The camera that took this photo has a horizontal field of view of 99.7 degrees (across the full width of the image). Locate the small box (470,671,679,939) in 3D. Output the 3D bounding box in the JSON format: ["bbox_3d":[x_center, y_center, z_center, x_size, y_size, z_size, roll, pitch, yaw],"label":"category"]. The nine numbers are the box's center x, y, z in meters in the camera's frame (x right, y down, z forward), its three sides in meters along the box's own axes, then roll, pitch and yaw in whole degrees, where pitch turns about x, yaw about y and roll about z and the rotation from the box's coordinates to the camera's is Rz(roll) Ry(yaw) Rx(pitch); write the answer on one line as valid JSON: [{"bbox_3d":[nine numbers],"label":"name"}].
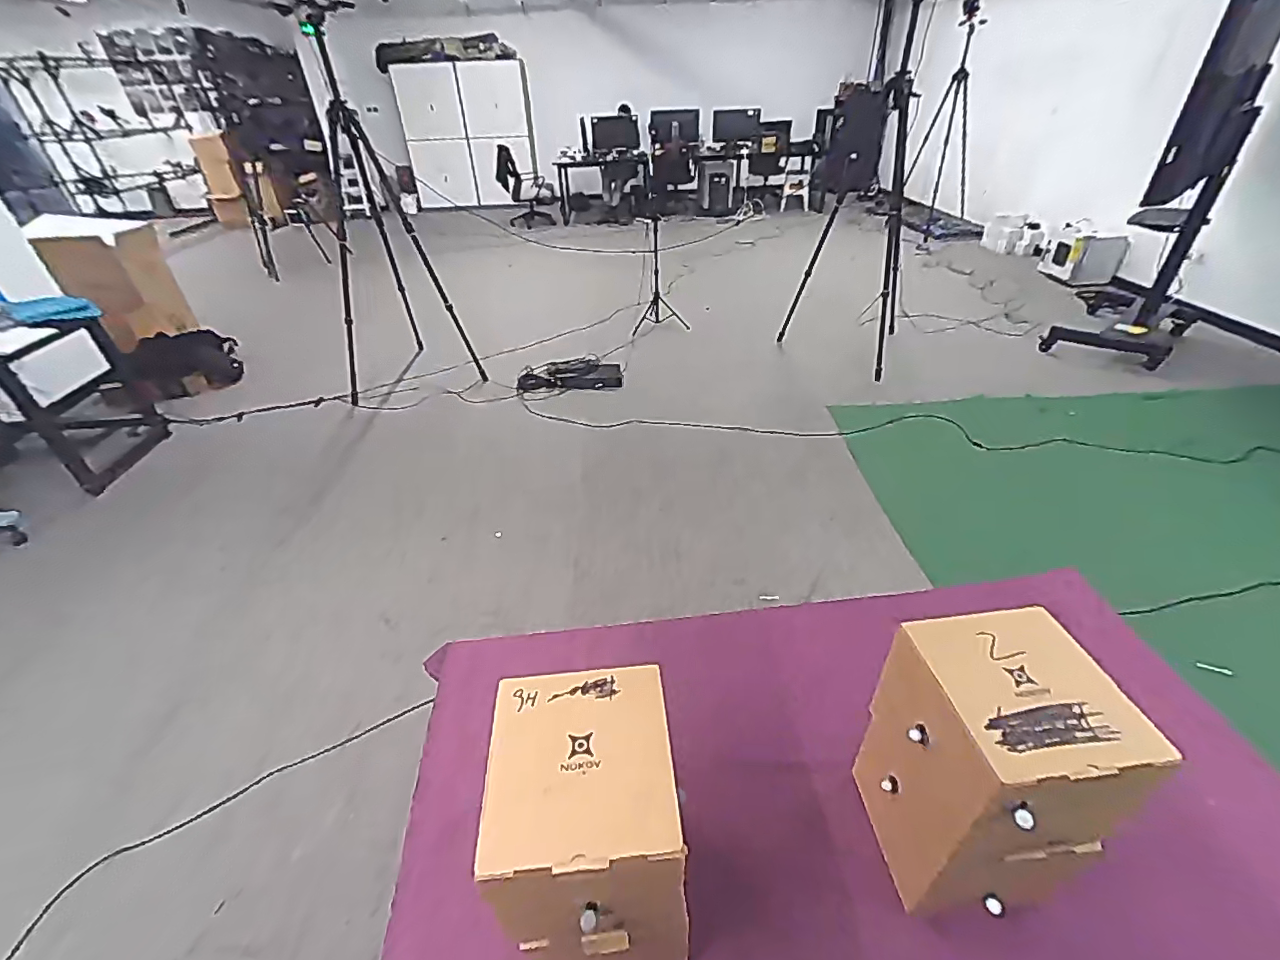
[{"bbox_3d":[-0.053,0.318,0.530,0.168,0.176,0.179,-4,37,-3],"label":"small box"}]

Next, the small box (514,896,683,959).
[{"bbox_3d":[-0.043,0.451,0.625,0.168,0.176,0.179,-6,35,-4],"label":"small box"}]

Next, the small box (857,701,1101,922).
[{"bbox_3d":[0.387,0.401,0.662,0.168,0.176,0.179,-5,36,-1],"label":"small box"}]
